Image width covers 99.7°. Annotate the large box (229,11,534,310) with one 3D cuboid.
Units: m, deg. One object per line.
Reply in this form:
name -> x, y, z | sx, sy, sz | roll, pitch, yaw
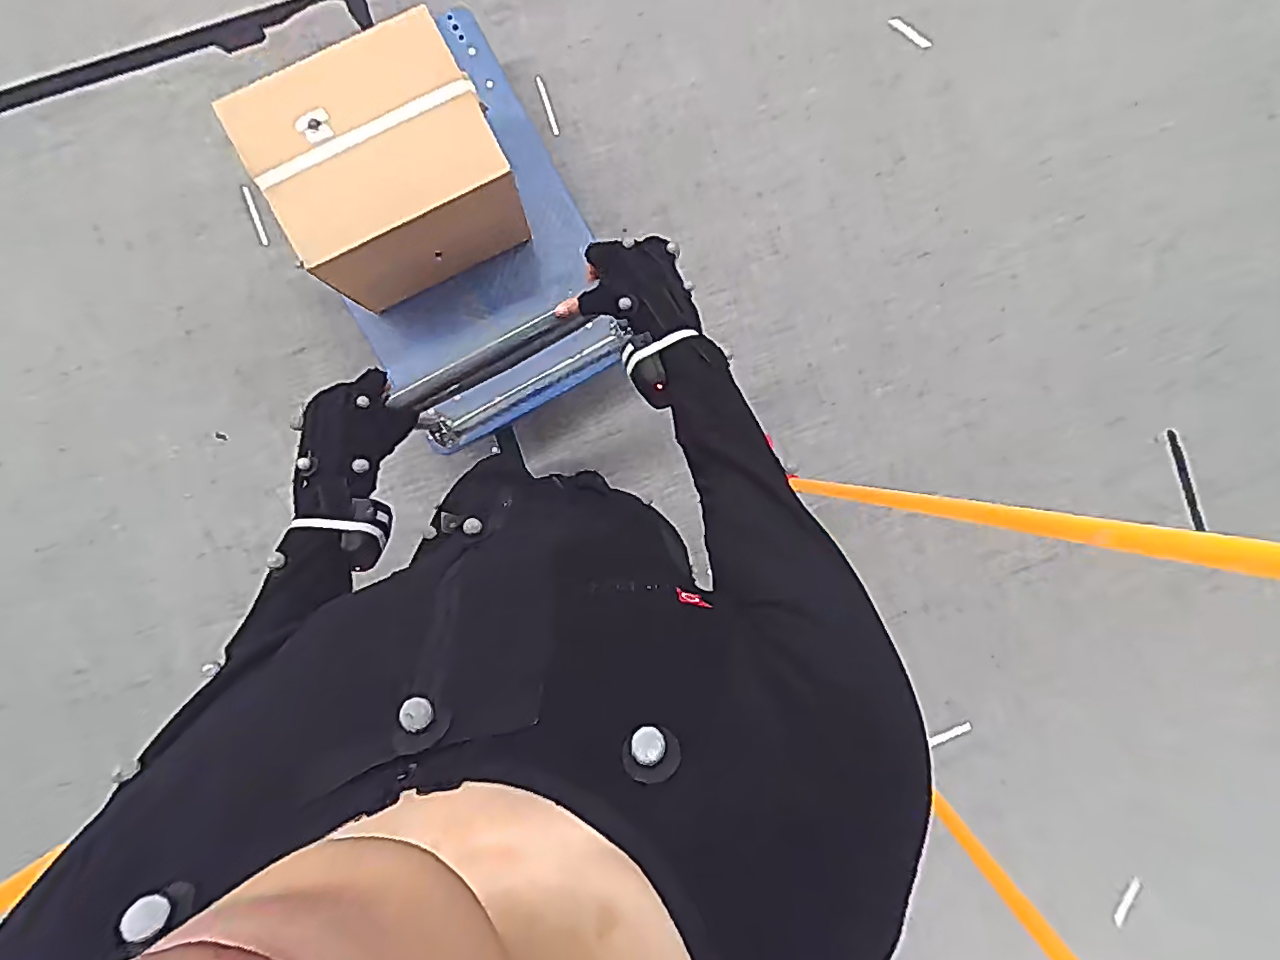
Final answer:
large box -> -0.475, -0.602, 1.095 | 0.408, 0.320, 0.320 | -28, 95, -2
